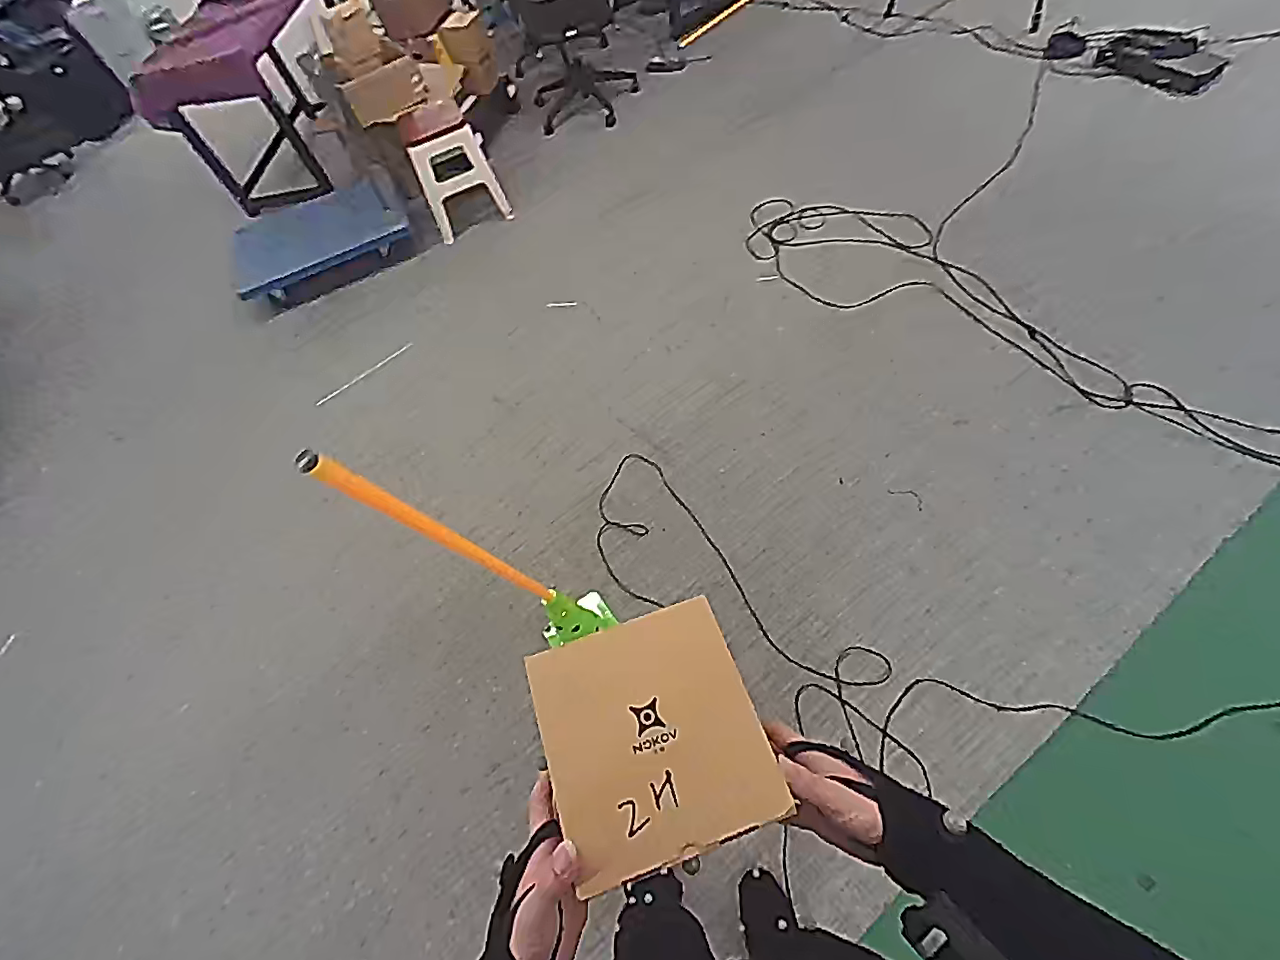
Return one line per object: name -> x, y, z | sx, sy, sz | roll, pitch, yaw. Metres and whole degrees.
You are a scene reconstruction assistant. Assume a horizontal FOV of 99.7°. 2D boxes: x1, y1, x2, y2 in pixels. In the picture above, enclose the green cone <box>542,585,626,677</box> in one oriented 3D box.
green cone -> -0.193, 0.371, 1.470 | 0.202, 0.368, 0.200 | -35, 61, -12
